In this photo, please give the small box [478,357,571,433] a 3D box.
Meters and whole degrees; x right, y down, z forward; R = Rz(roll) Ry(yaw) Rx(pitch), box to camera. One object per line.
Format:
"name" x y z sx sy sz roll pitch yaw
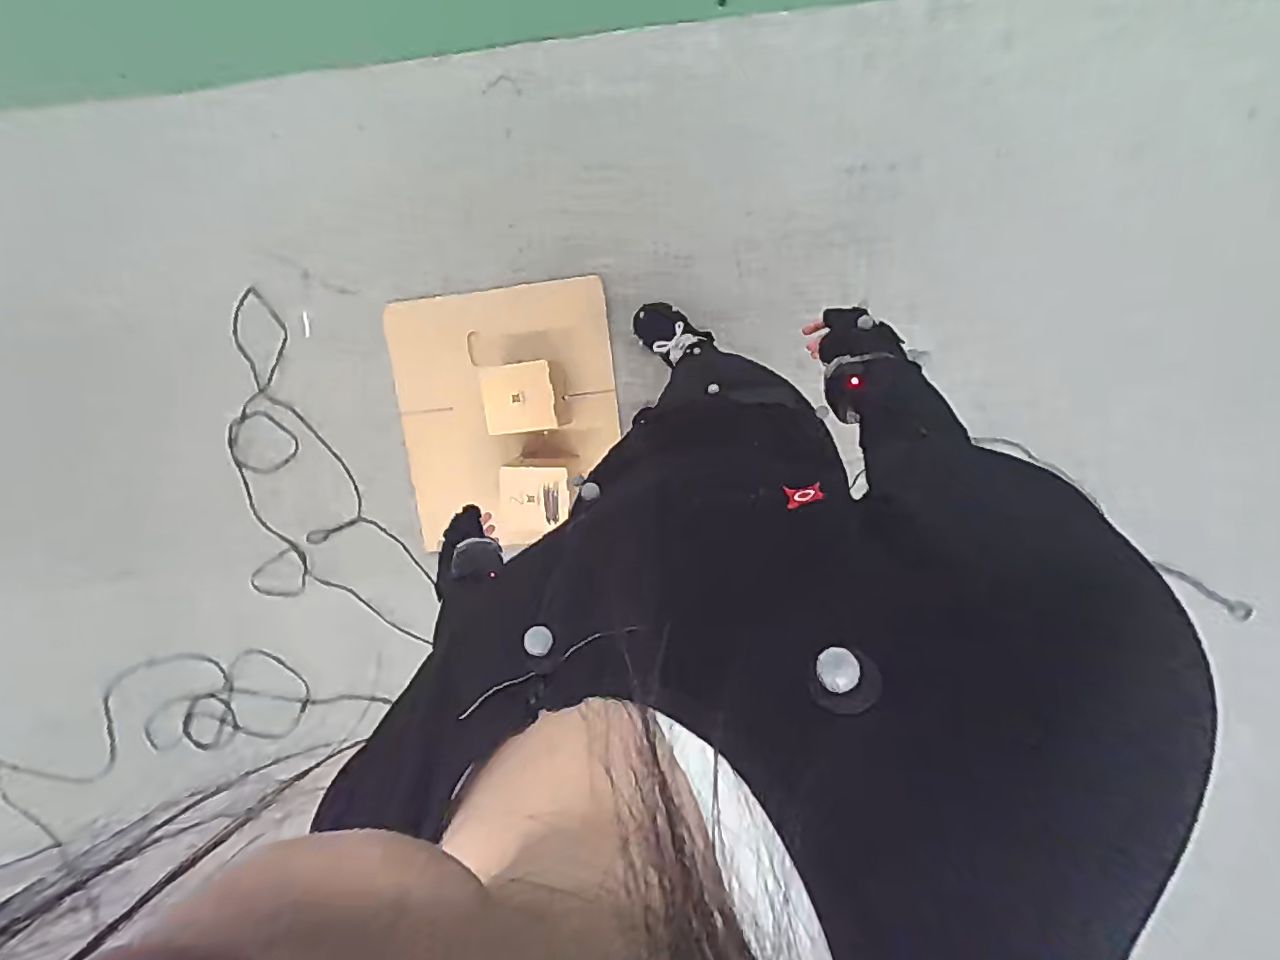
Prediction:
"small box" -0.286 -0.215 1.378 0.179 0.176 0.168 -7 100 6
